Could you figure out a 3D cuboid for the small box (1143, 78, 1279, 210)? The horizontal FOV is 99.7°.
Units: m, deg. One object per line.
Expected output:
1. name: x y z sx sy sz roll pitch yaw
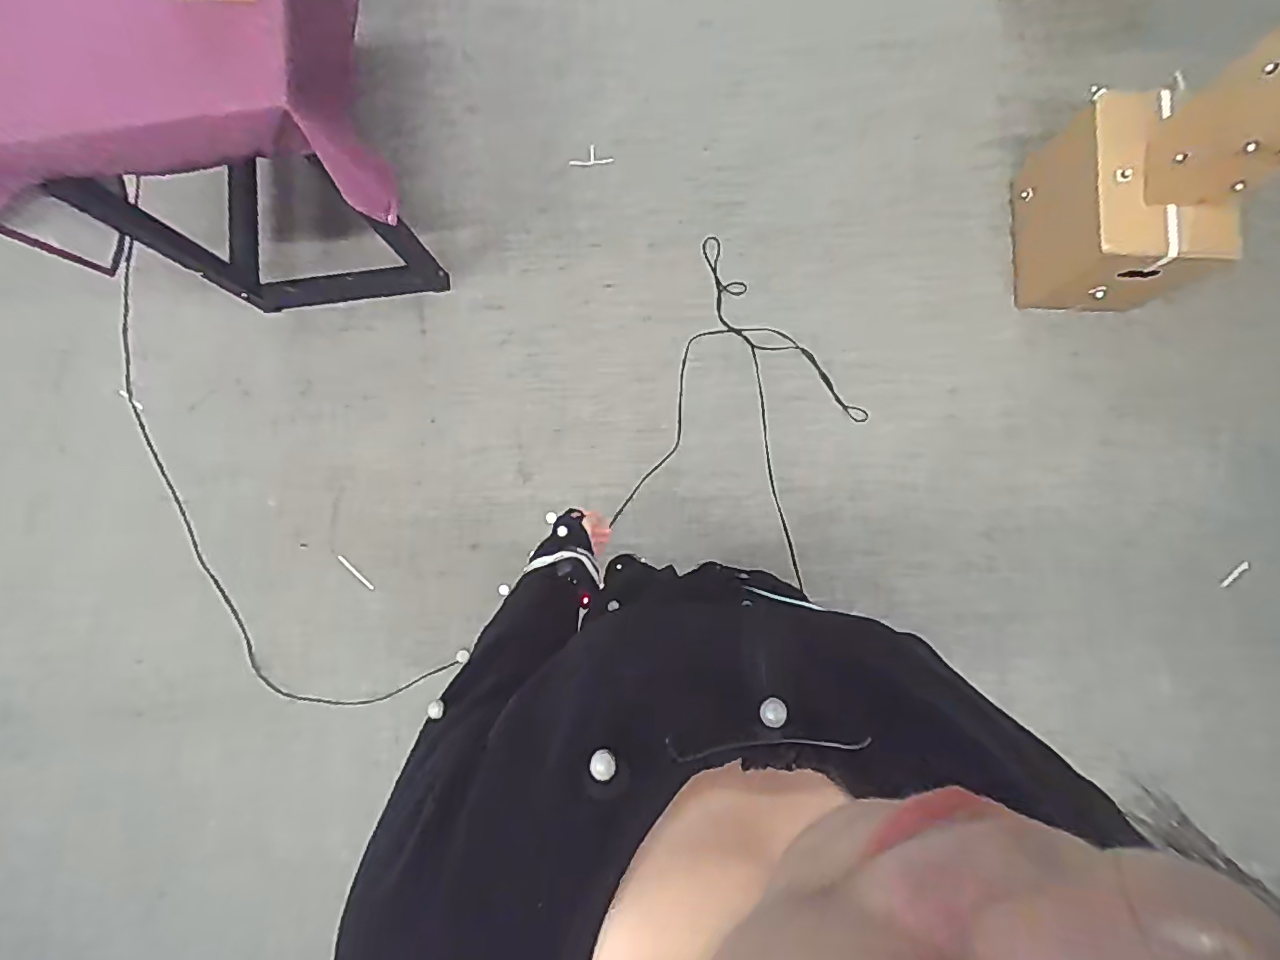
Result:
1. small box: 1.240 -0.713 1.167 0.168 0.176 0.179 6 84 1
